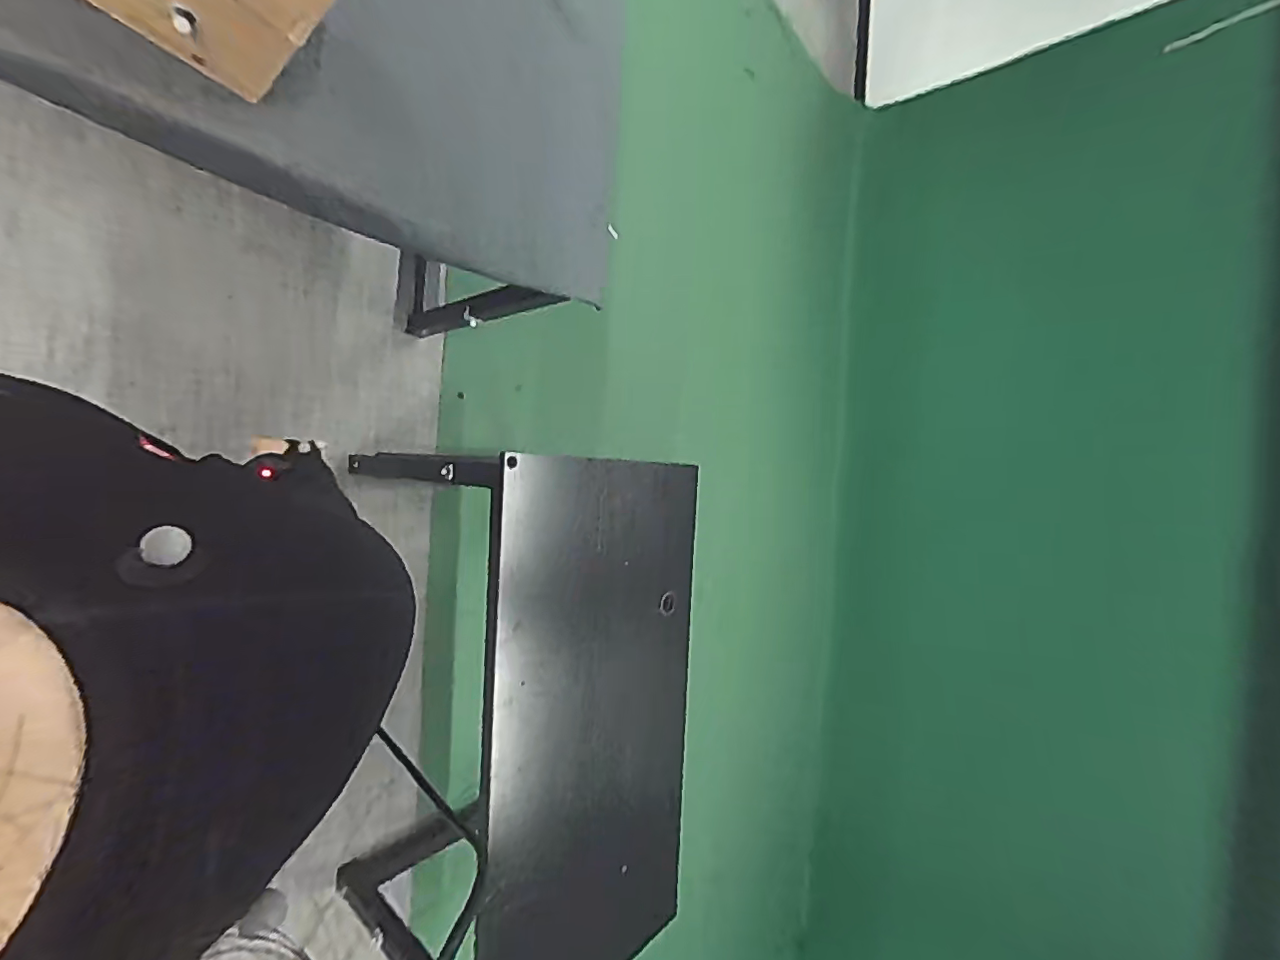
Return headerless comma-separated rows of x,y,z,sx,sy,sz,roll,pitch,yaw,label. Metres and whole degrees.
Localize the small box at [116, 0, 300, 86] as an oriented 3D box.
-0.440,-0.558,0.547,0.168,0.176,0.179,18,80,-48,small box
